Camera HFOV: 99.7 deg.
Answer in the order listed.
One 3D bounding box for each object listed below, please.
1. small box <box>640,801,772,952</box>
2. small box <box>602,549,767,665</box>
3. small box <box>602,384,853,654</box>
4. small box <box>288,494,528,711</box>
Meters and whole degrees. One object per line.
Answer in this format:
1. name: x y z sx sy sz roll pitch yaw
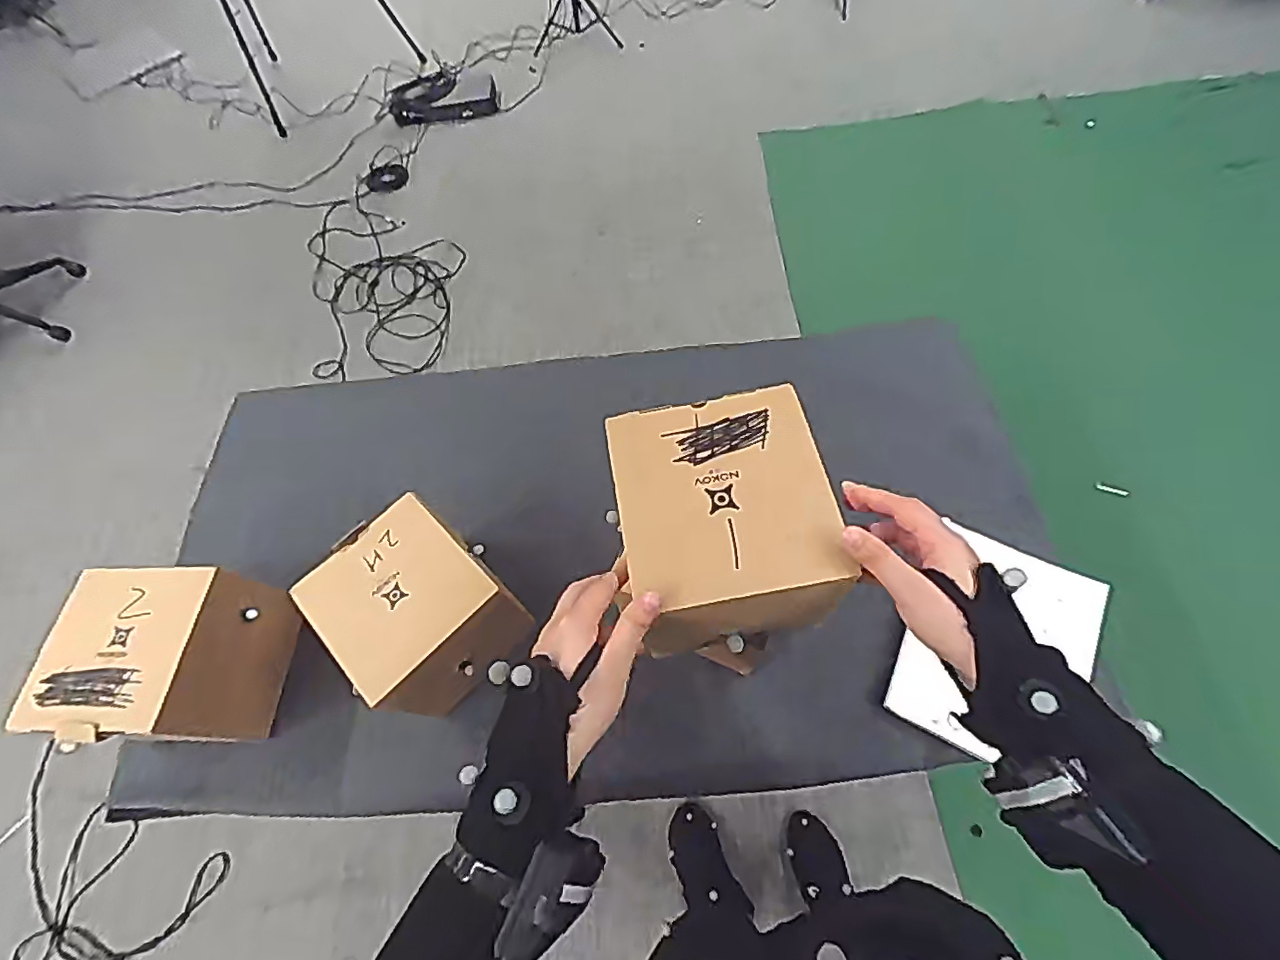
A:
1. small box: 0.139 0.788 1.091 0.176 0.168 0.179 47 48 -5
2. small box: 0.079 0.105 0.644 0.179 0.176 0.168 20 67 16
3. small box: 0.066 0.044 0.491 0.168 0.176 0.179 -11 62 1
4. small box: -0.261 0.155 0.651 0.179 0.176 0.168 40 73 22
